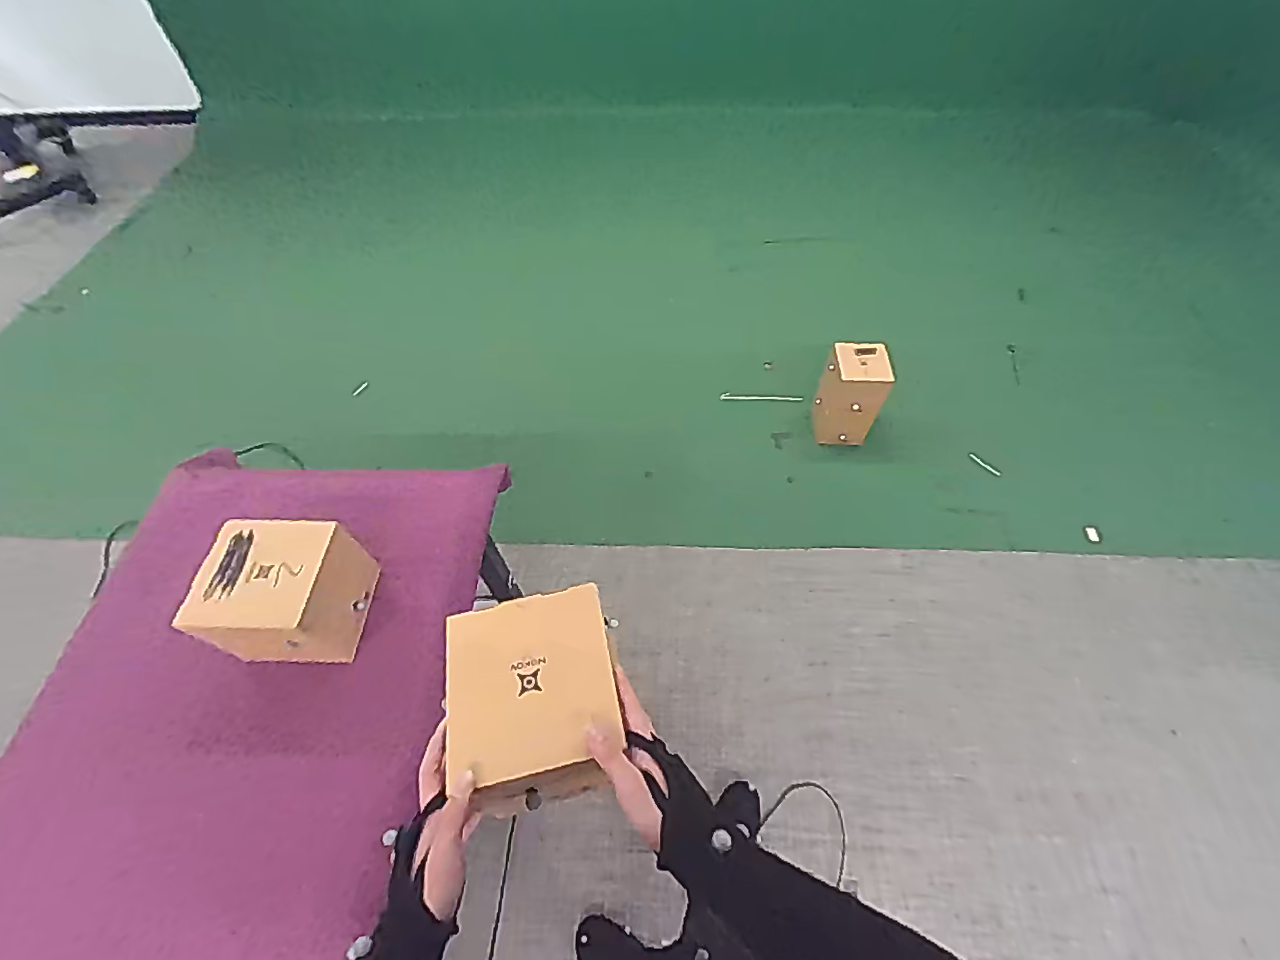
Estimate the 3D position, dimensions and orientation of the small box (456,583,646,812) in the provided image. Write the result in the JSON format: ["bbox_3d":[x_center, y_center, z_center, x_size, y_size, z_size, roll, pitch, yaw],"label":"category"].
[{"bbox_3d":[-0.092,0.243,0.590,0.168,0.176,0.179,-12,51,-5],"label":"small box"}]

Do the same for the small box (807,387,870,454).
[{"bbox_3d":[0.716,-0.218,1.973,0.168,0.176,0.179,2,55,2],"label":"small box"}]

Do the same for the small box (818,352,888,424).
[{"bbox_3d":[0.717,-0.312,1.839,0.168,0.176,0.179,2,56,2],"label":"small box"}]
